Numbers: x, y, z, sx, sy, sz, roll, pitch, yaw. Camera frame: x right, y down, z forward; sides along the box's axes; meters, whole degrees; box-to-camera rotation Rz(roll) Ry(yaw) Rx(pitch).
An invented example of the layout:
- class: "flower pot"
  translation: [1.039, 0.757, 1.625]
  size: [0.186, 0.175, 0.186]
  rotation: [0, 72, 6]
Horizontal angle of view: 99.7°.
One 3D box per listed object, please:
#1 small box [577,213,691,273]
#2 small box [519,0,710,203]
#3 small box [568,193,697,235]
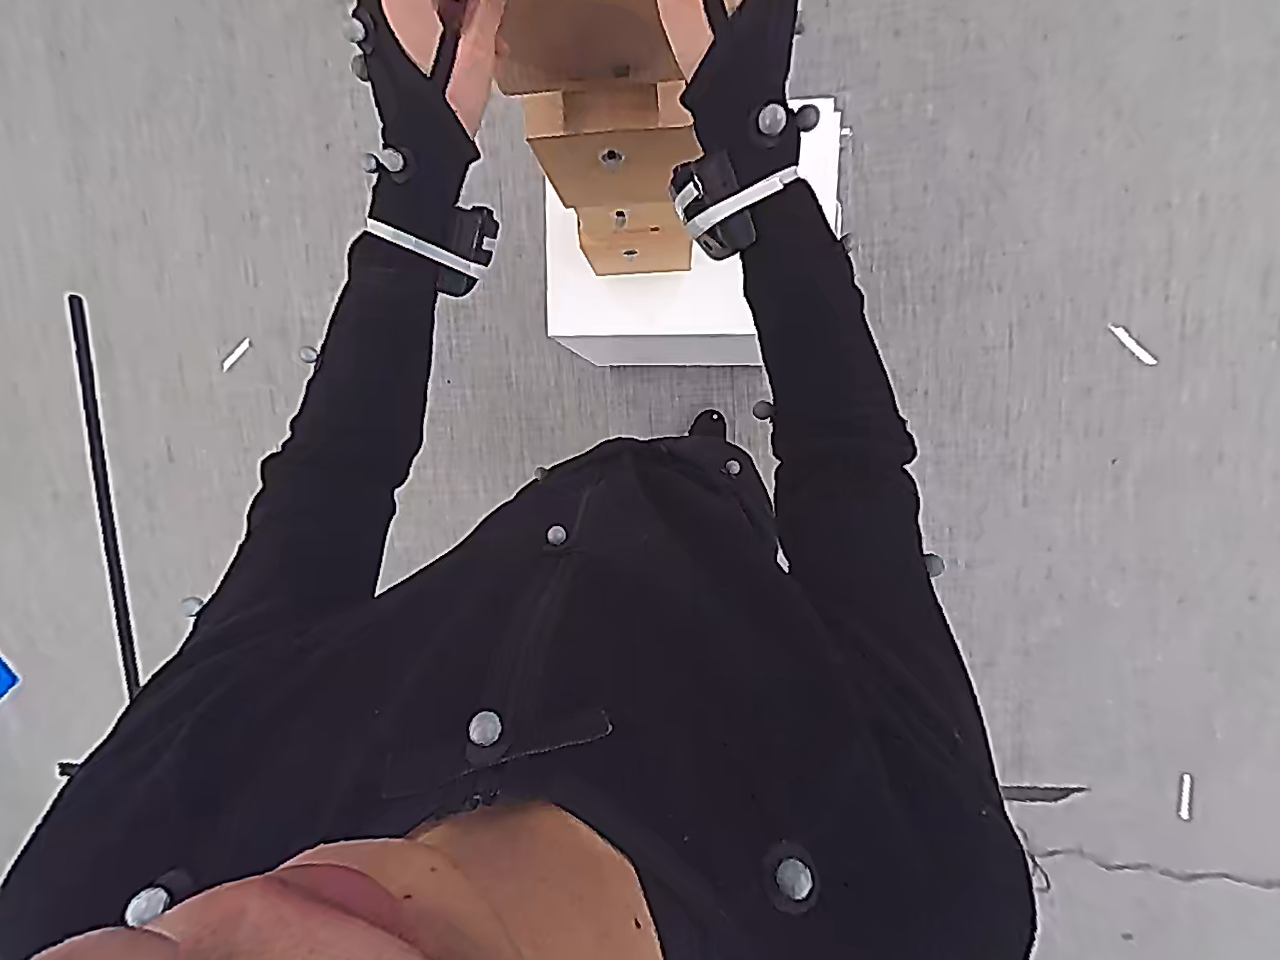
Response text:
- class: "small box"
  translation: [-0.005, -0.450, 0.896]
  size: [0.179, 0.176, 0.168]
  rotation: [-2, 96, 4]
- class: "small box"
  translation: [-0.017, -0.410, 0.571]
  size: [0.179, 0.176, 0.168]
  rotation: [-1, 96, 4]
- class: "small box"
  translation: [-0.006, -0.446, 0.733]
  size: [0.168, 0.176, 0.179]
  rotation: [-1, 95, 4]
